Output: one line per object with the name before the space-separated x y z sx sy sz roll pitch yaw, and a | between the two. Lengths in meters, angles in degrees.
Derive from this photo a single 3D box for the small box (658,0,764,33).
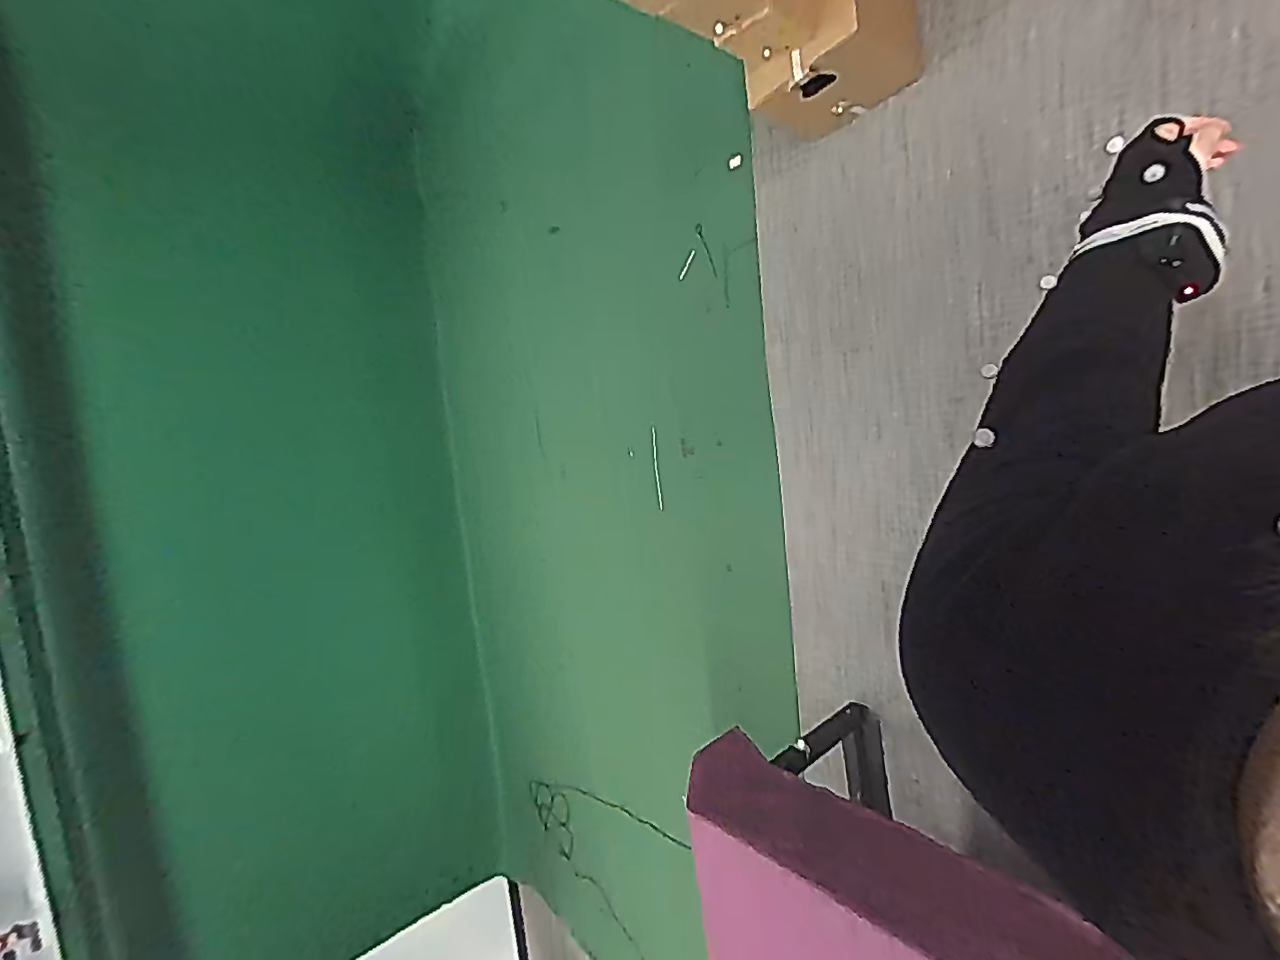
small box | 0.155 -1.098 1.138 0.168 0.176 0.179 20 115 50

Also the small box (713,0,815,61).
small box | 0.286 -1.111 1.233 0.168 0.176 0.179 15 110 50

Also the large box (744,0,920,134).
large box | 0.473 -1.195 1.372 0.320 0.320 0.408 -2 95 52
